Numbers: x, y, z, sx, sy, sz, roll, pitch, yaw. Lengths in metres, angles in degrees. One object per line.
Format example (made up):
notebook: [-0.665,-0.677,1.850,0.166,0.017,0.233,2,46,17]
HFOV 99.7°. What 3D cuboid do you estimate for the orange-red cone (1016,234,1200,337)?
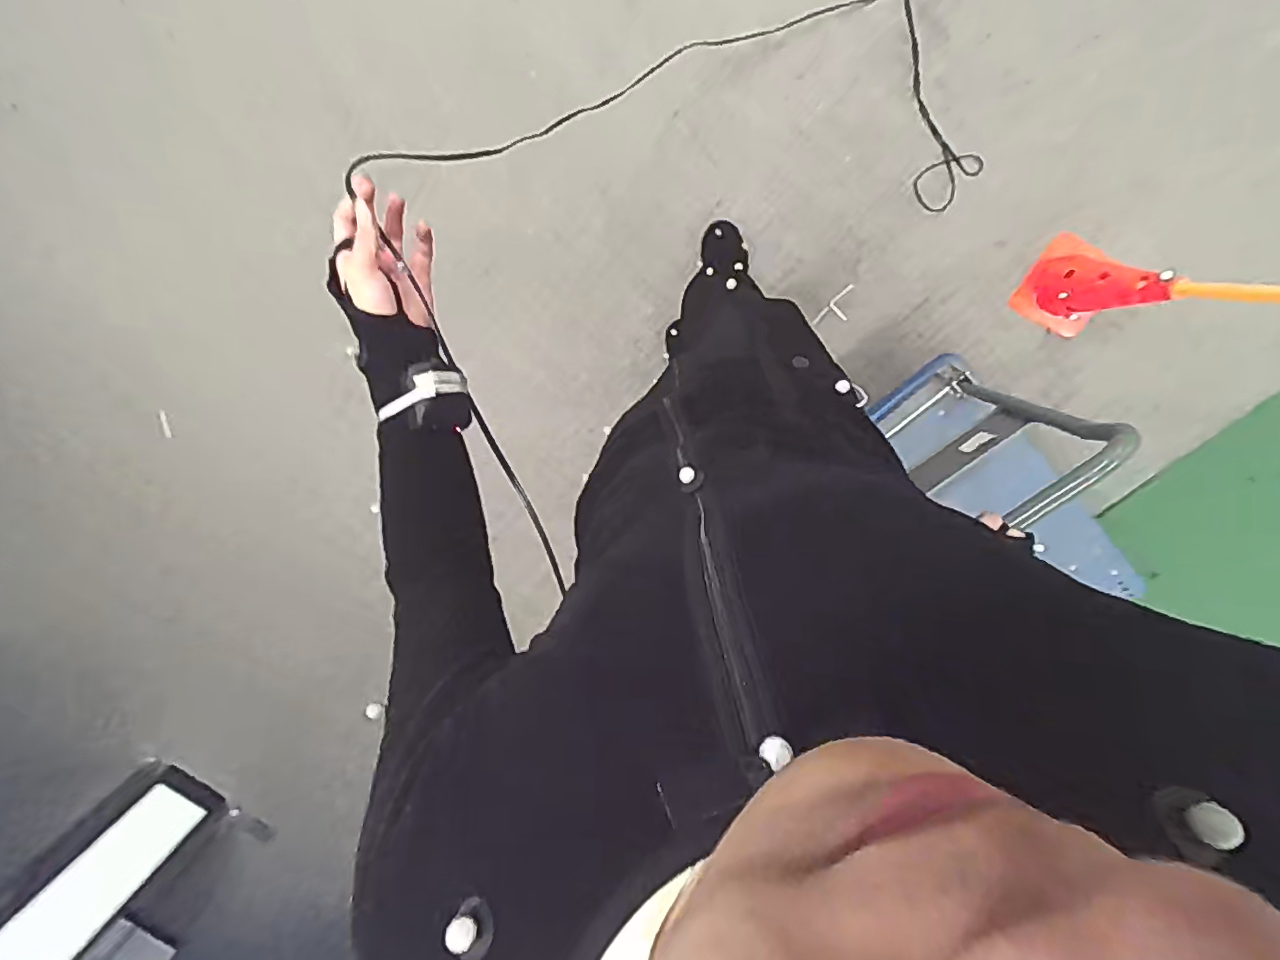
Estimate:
orange-red cone: [1.064,-0.428,1.195,0.198,0.360,0.199,27,109,-5]
